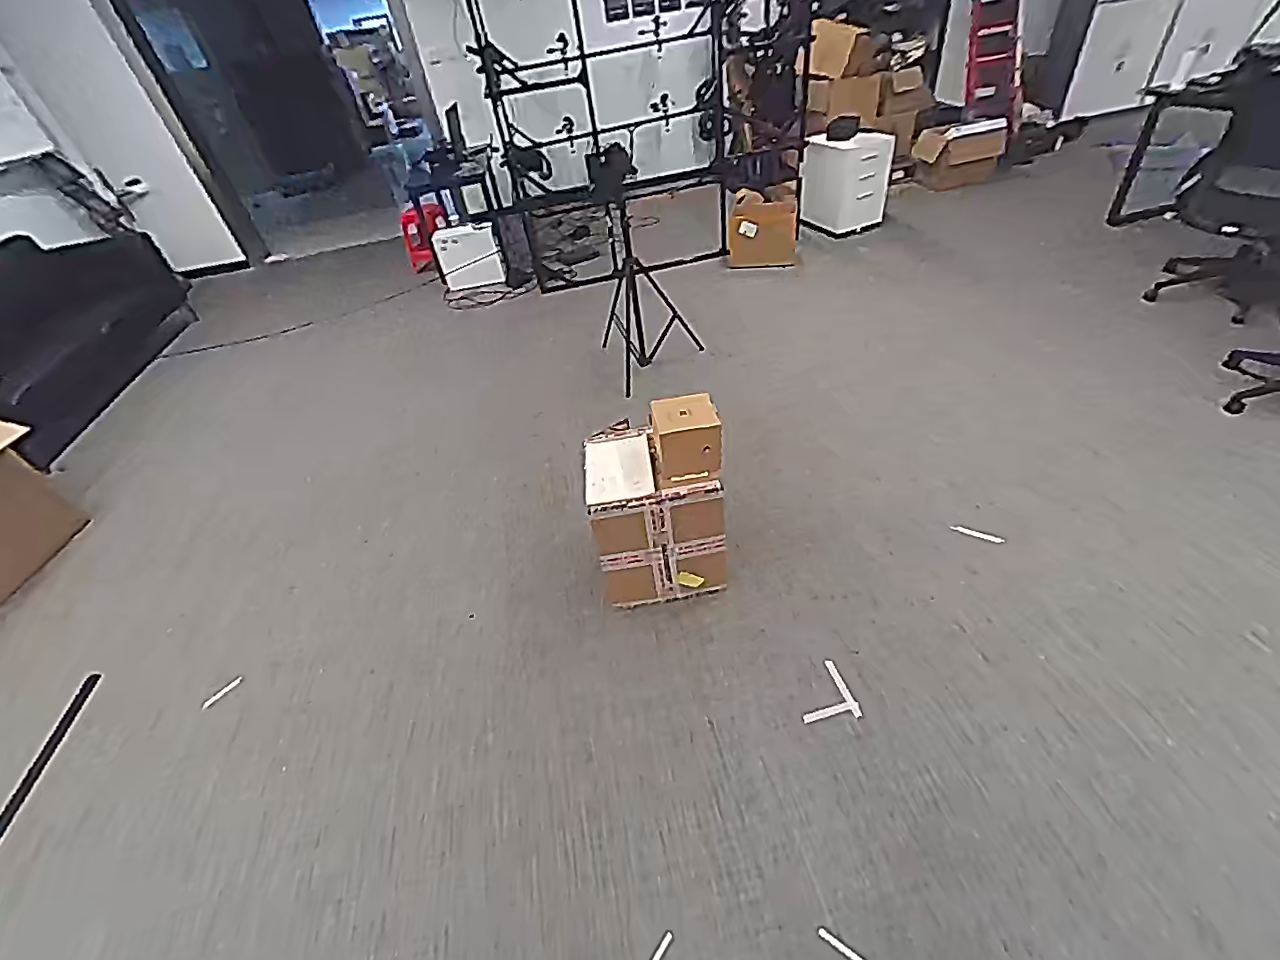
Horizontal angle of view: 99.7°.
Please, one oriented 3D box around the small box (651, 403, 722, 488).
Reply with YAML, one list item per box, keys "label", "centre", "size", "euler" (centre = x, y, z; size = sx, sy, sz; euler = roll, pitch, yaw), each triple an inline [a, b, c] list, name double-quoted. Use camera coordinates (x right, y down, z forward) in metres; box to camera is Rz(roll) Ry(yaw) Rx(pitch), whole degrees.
- label: "small box"
  centre: [0.132, -0.098, 1.557]
  size: [0.179, 0.176, 0.168]
  euler: [-10, 42, -2]
